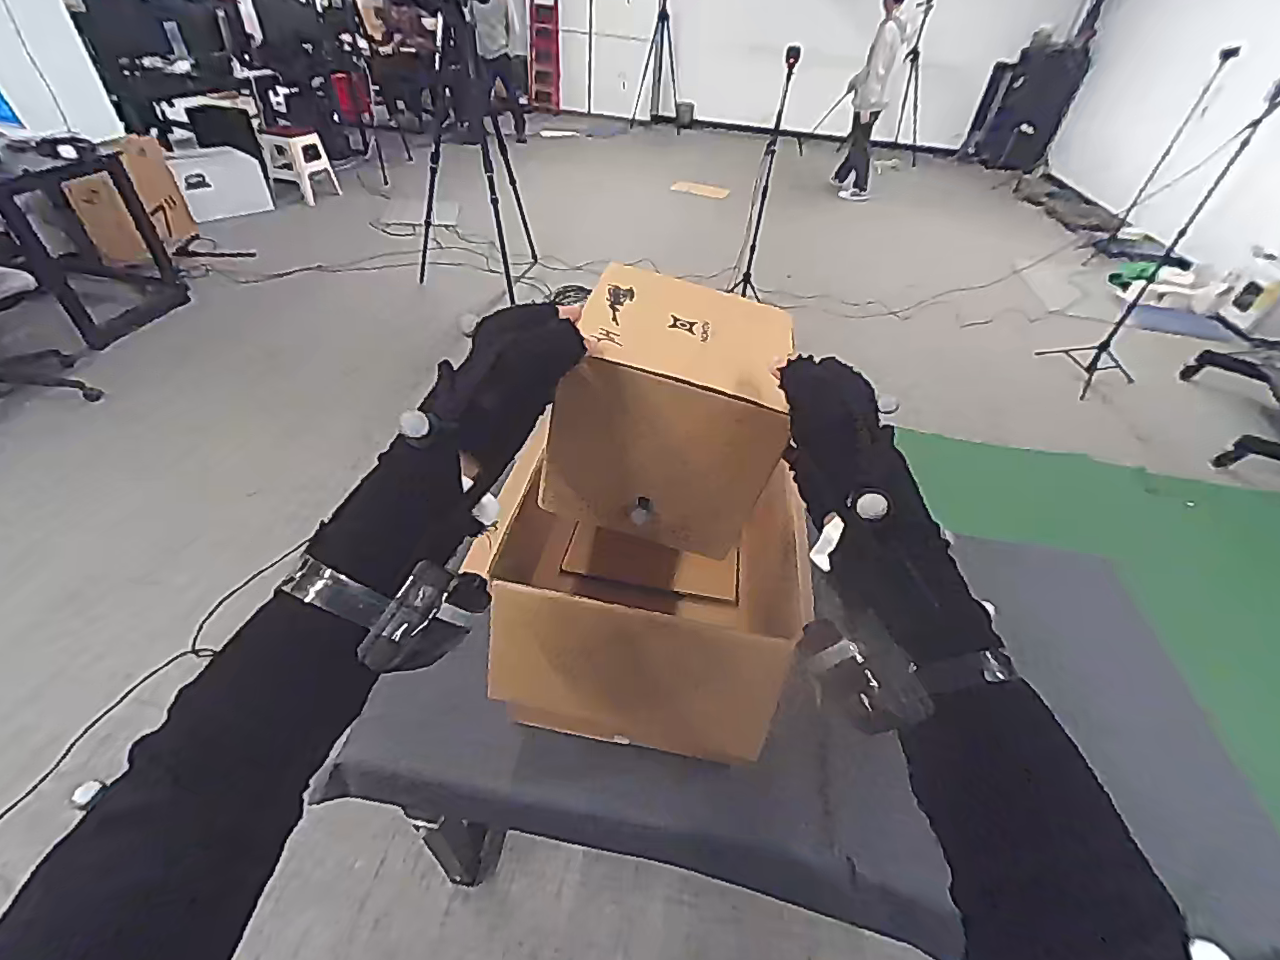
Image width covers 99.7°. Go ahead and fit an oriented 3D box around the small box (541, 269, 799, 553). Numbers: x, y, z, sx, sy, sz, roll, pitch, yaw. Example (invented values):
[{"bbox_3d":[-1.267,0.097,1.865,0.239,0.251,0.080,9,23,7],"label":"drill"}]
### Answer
[{"bbox_3d":[0.024,-0.058,0.490,0.179,0.176,0.168,17,41,-2],"label":"small box"}]
